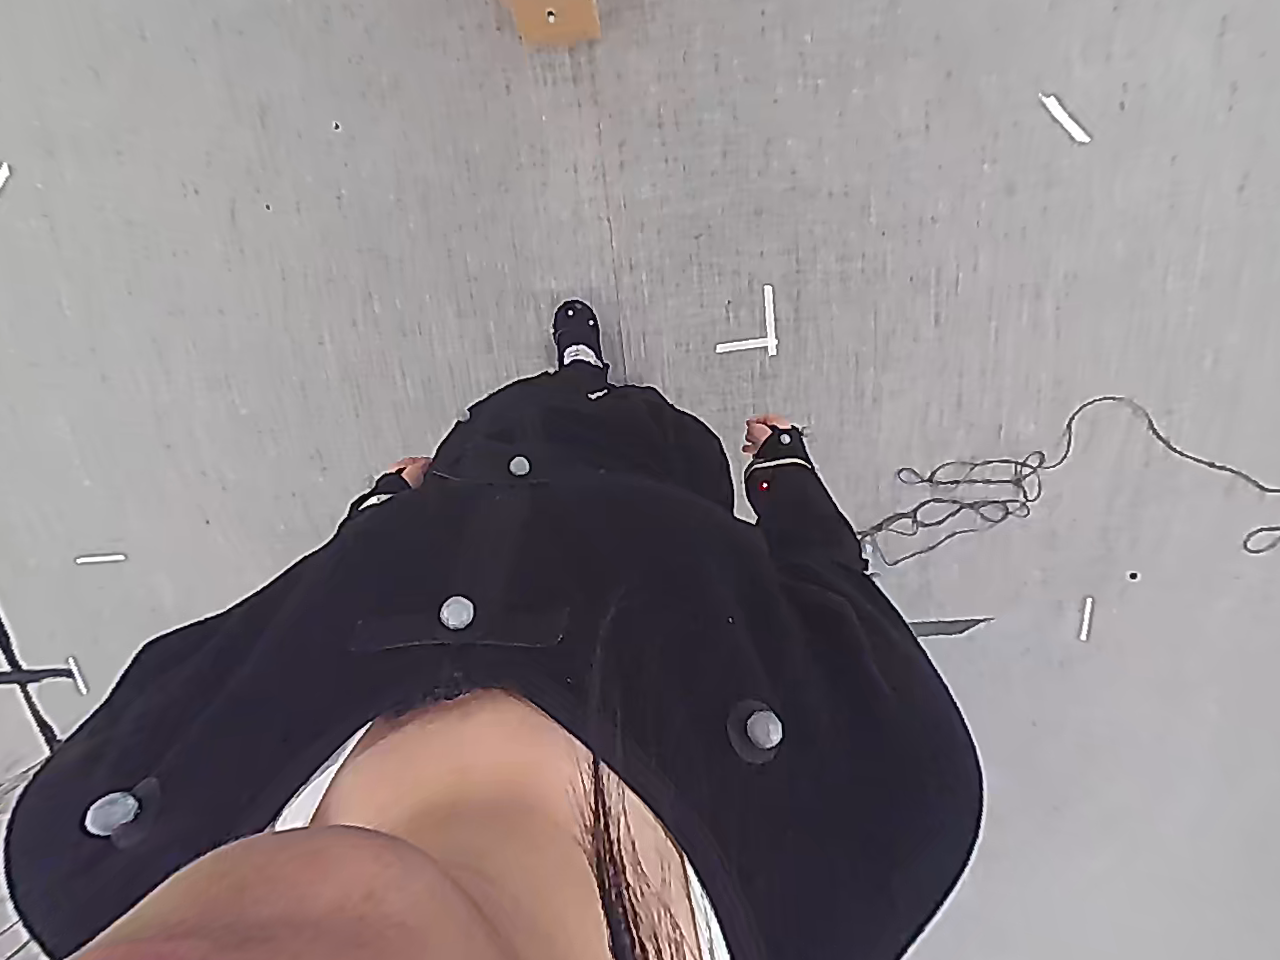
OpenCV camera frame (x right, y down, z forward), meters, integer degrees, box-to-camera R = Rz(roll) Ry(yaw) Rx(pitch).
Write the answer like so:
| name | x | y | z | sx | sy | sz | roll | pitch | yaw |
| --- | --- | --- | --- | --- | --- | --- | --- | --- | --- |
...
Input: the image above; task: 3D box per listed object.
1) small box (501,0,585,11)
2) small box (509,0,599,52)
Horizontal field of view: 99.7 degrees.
| name | x | y | z | sx | sy | sz | roll | pitch | yaw |
| --- | --- | --- | --- | --- | --- | --- | --- | --- | --- |
| small box | -0.196 | -1.003 | 0.991 | 0.179 | 0.176 | 0.168 | -2 | 106 | 3 |
| small box | -0.184 | -1.050 | 1.148 | 0.179 | 0.176 | 0.168 | -5 | 105 | 3 |
